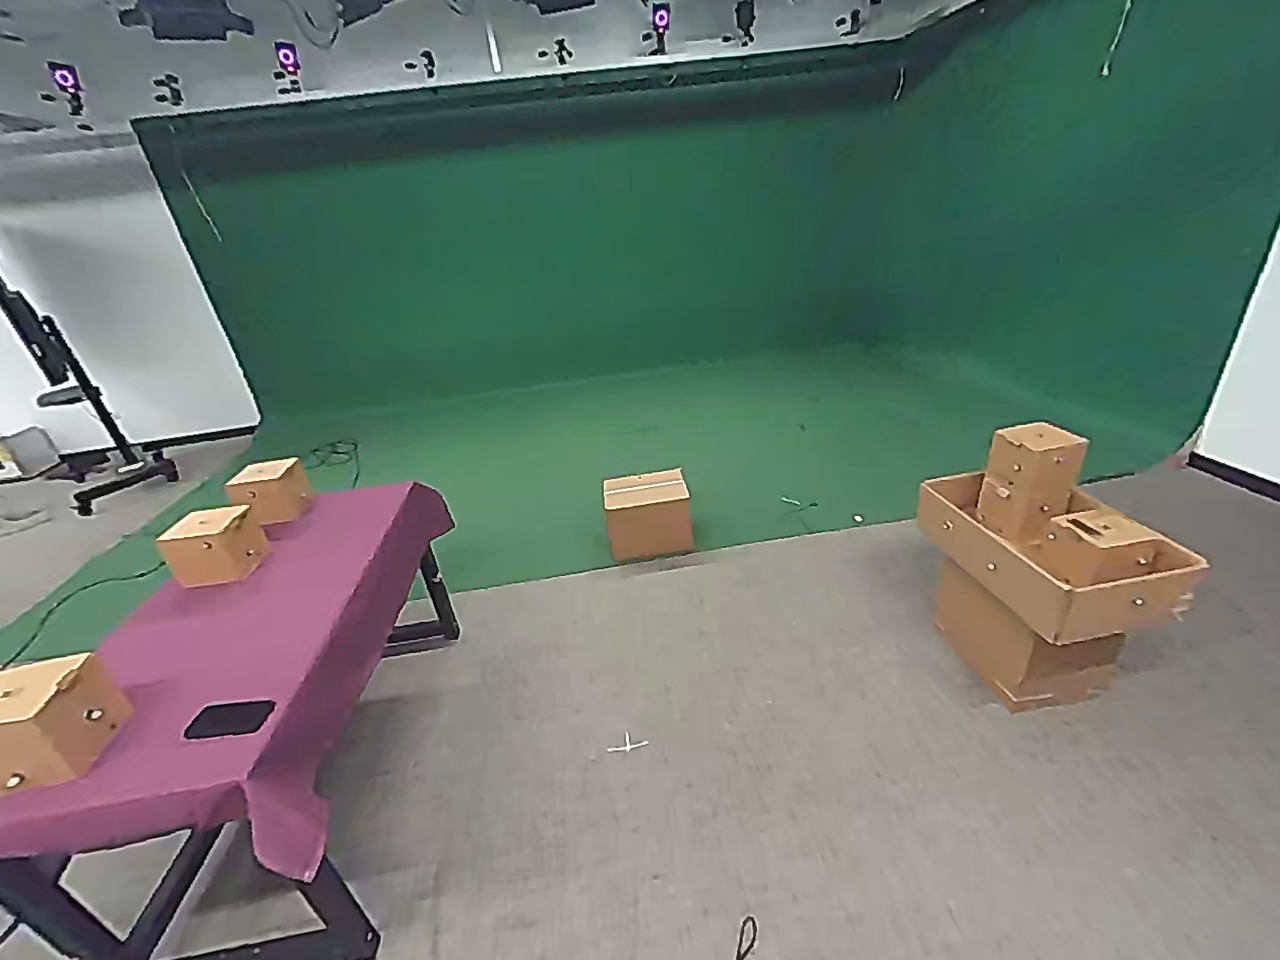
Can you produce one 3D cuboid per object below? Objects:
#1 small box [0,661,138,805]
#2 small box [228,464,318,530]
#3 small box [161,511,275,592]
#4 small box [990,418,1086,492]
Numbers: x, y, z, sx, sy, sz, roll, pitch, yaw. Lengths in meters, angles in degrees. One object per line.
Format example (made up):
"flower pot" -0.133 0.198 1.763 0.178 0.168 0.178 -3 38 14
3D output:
"small box" -1.139 0.484 1.039 0.179 0.176 0.168 -11 26 -8
"small box" -1.274 0.064 1.892 0.179 0.176 0.168 -9 28 -3
"small box" -1.236 0.213 1.599 0.179 0.176 0.168 -8 27 -2
"small box" 1.230 -0.076 1.688 0.179 0.176 0.168 -11 28 -7
